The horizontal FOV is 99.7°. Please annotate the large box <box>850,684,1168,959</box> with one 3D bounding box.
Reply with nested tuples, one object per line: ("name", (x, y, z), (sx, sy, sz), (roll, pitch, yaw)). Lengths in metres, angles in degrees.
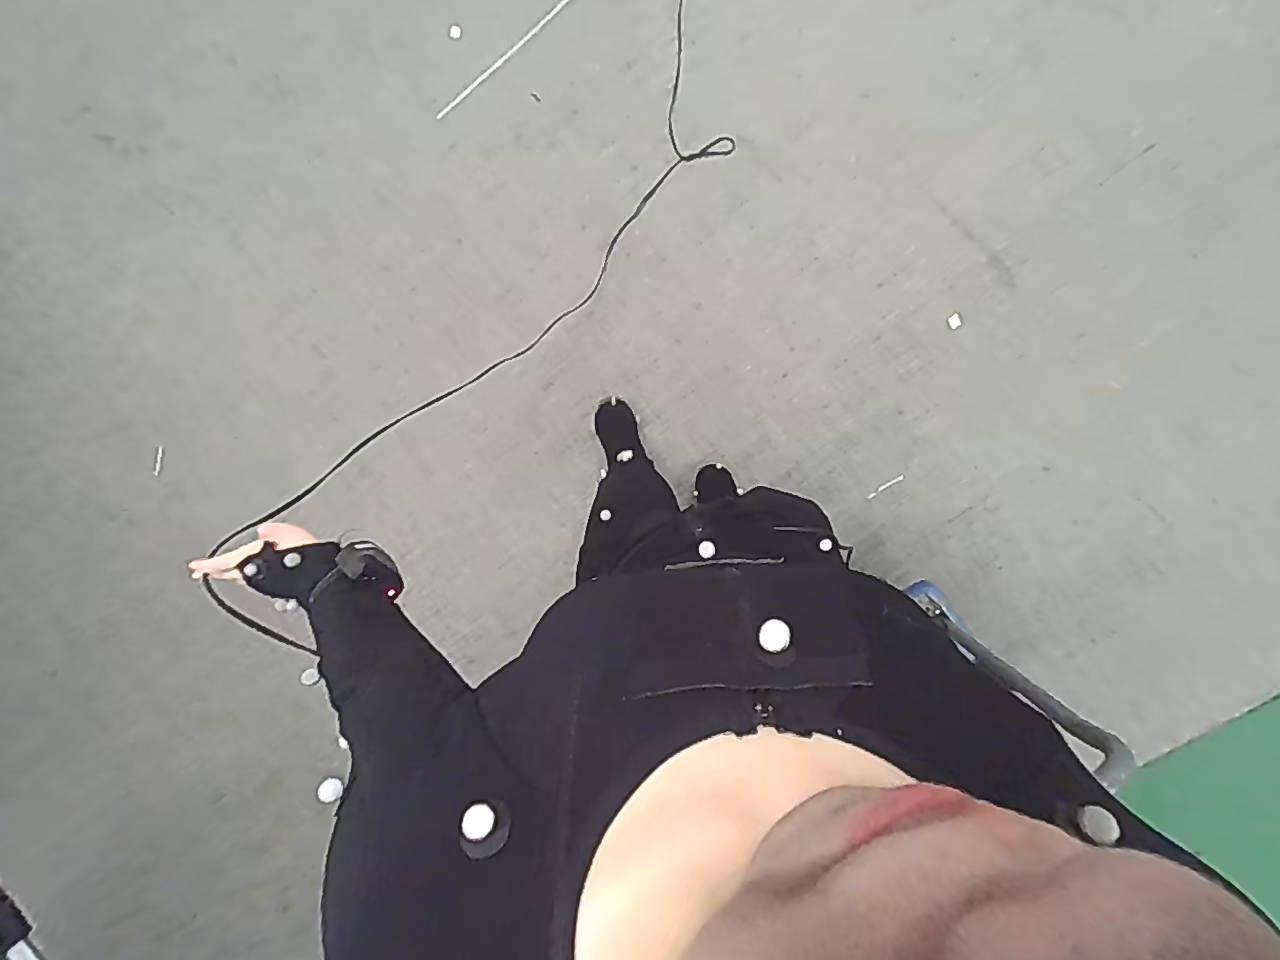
("large box", (0.740, 0.720, 1.159), (0.408, 0.320, 0.320), (-33, 89, 9))
